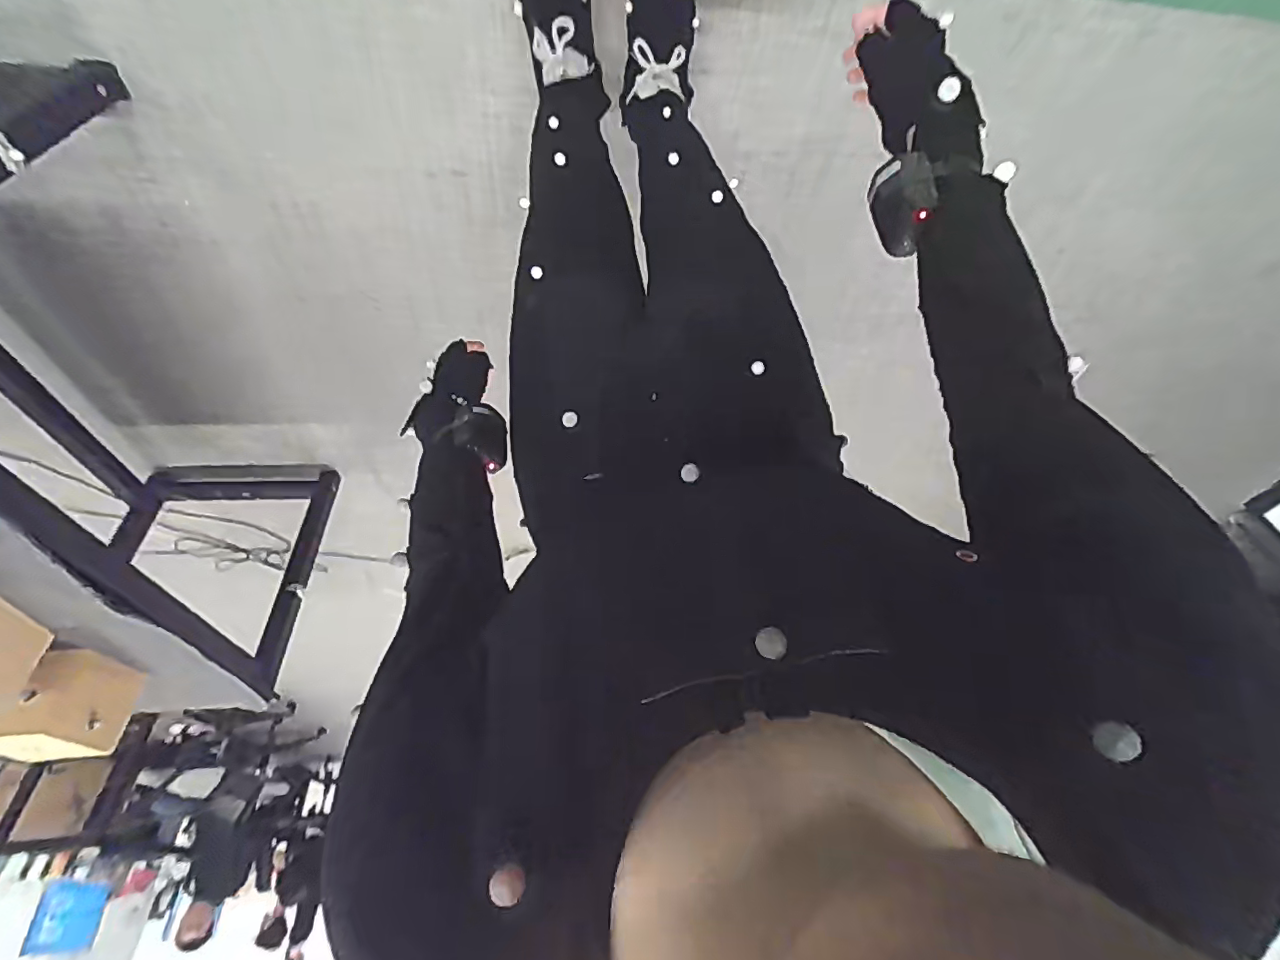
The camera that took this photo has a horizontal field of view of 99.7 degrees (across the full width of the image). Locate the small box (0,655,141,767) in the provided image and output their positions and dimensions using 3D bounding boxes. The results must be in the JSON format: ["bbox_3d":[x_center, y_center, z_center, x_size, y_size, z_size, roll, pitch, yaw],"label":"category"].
[{"bbox_3d":[-1.176,0.458,1.083,0.168,0.176,0.179,-4,142,-2],"label":"small box"}]
